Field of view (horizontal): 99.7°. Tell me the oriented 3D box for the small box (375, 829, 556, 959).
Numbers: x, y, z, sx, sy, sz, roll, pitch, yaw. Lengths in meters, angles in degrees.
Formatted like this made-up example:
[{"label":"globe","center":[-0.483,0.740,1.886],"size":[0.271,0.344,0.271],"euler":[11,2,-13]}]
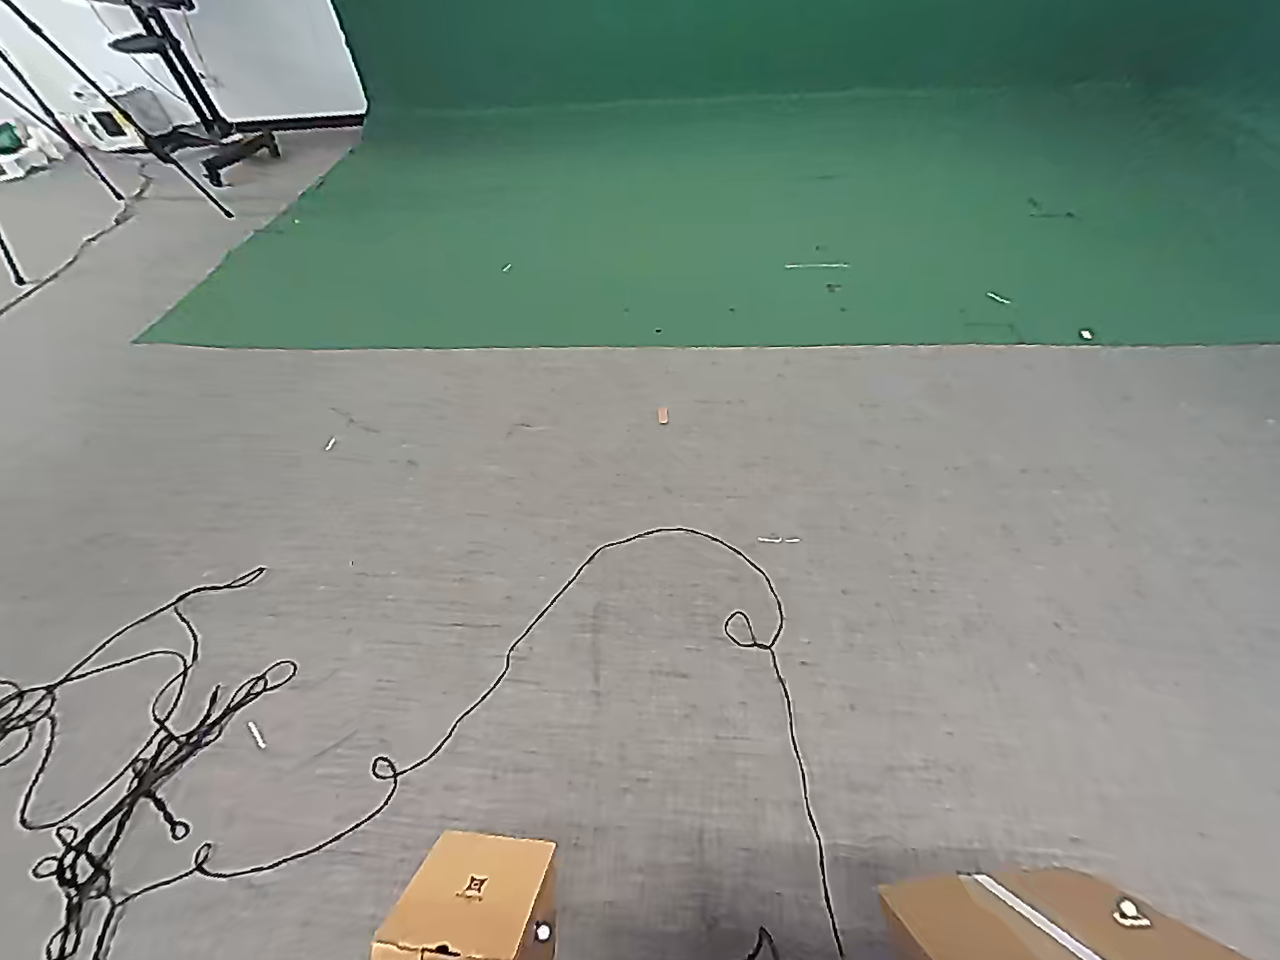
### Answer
[{"label":"small box","center":[-0.212,0.591,0.685],"size":[0.168,0.179,0.176],"euler":[2,96,7]}]
